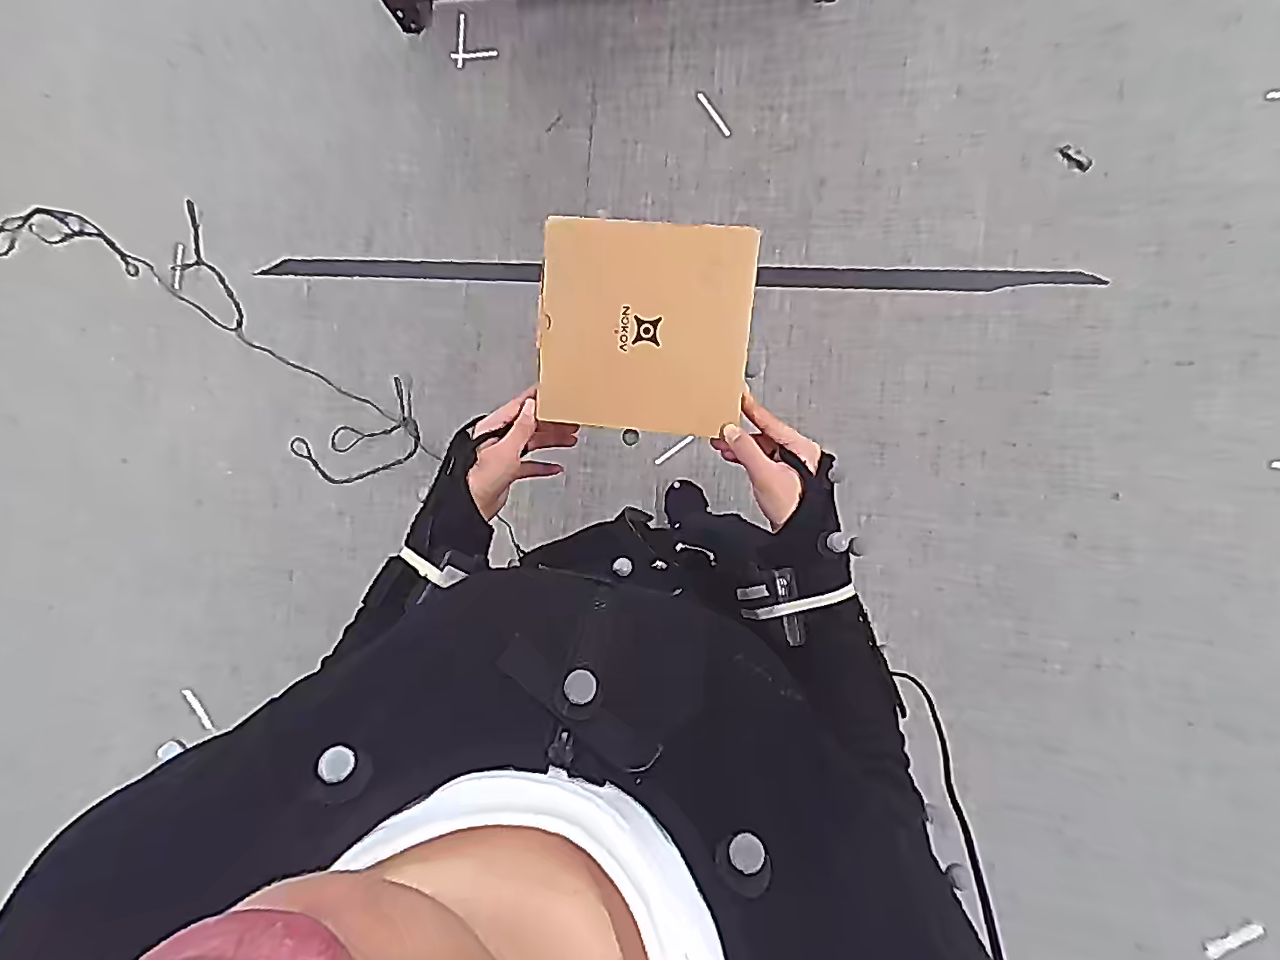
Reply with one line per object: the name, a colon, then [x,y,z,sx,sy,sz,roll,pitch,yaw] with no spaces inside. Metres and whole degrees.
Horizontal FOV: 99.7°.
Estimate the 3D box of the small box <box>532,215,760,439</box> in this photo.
small box: [0.012,-0.137,0.513,0.179,0.176,0.168,6,101,9]
